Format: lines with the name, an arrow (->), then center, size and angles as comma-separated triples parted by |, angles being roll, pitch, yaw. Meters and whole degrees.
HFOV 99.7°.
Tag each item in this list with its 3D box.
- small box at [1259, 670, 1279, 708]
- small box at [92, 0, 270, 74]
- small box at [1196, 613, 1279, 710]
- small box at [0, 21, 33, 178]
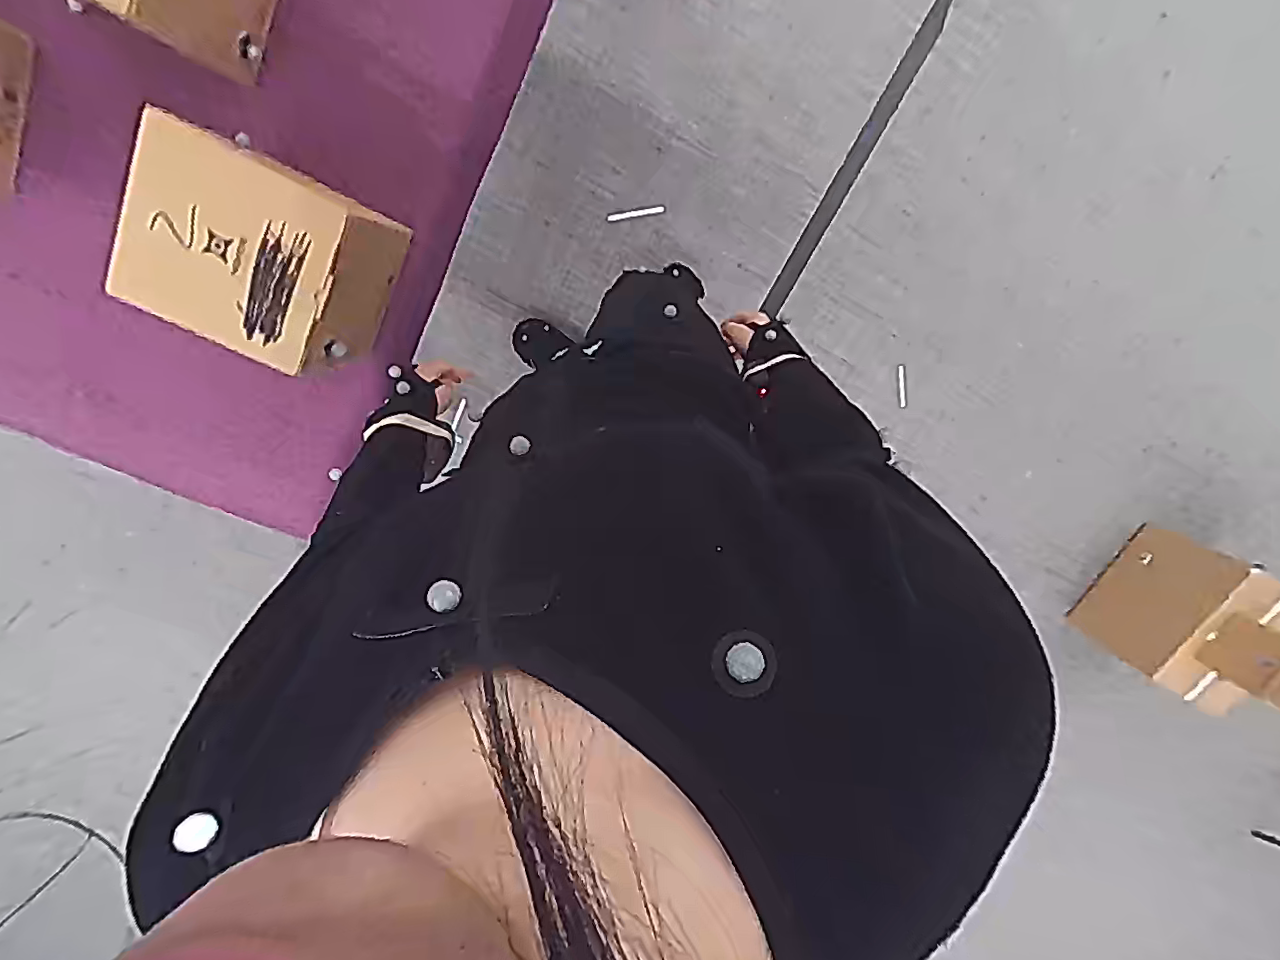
small box -> 1.671, 0.531, 1.282 | 0.179, 0.176, 0.168 | 25, 105, -10
small box -> -0.446, -0.497, 0.466 | 0.179, 0.176, 0.168 | 25, 105, -12
small box -> 1.665, 0.486, 1.438 | 0.168, 0.176, 0.179 | 24, 106, -11
small box -> -0.717, -0.386, 0.478 | 0.179, 0.176, 0.168 | 24, 105, -15
